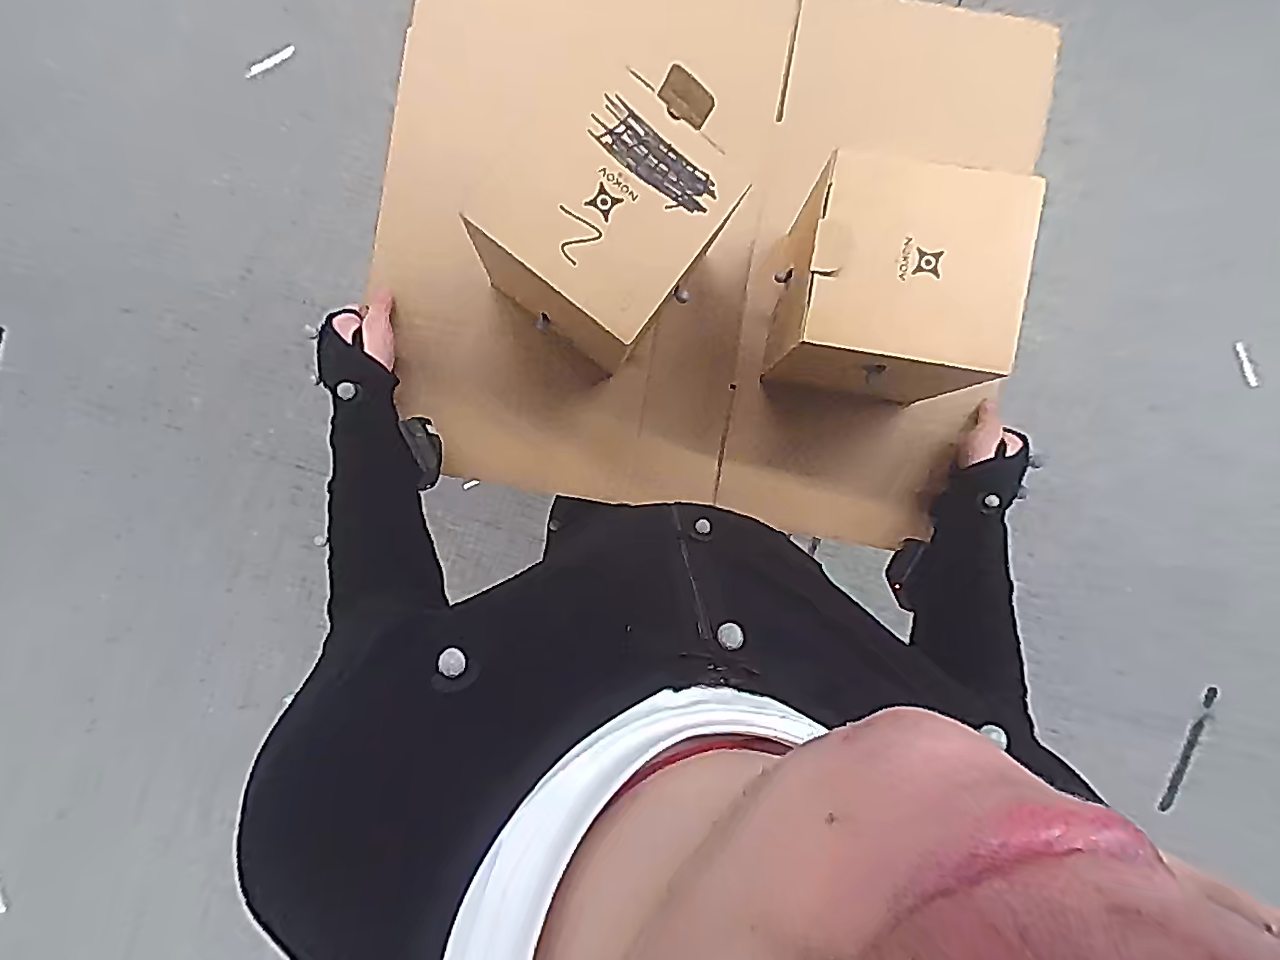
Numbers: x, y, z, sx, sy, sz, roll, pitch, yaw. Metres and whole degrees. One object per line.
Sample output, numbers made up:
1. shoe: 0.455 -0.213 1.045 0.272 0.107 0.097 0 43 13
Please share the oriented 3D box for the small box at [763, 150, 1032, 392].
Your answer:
1. small box: 0.237 -0.188 0.541 0.179 0.176 0.168 10 91 2
